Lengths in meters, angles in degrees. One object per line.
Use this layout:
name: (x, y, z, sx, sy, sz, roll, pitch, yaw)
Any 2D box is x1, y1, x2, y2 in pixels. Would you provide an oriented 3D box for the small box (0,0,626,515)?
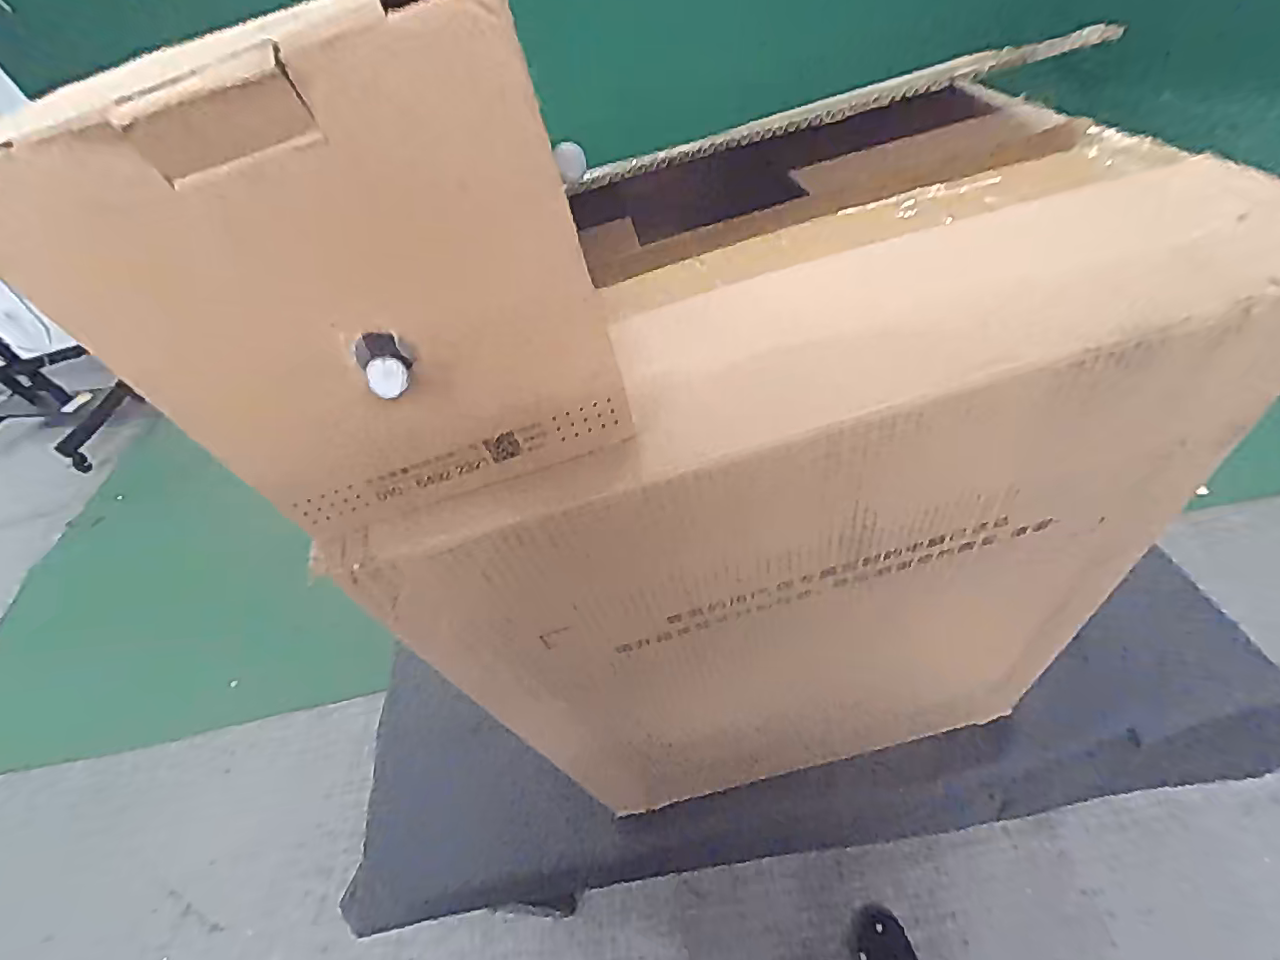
small box: (-0.115, -0.104, 0.256, 0.168, 0.176, 0.179, -18, 48, 1)
